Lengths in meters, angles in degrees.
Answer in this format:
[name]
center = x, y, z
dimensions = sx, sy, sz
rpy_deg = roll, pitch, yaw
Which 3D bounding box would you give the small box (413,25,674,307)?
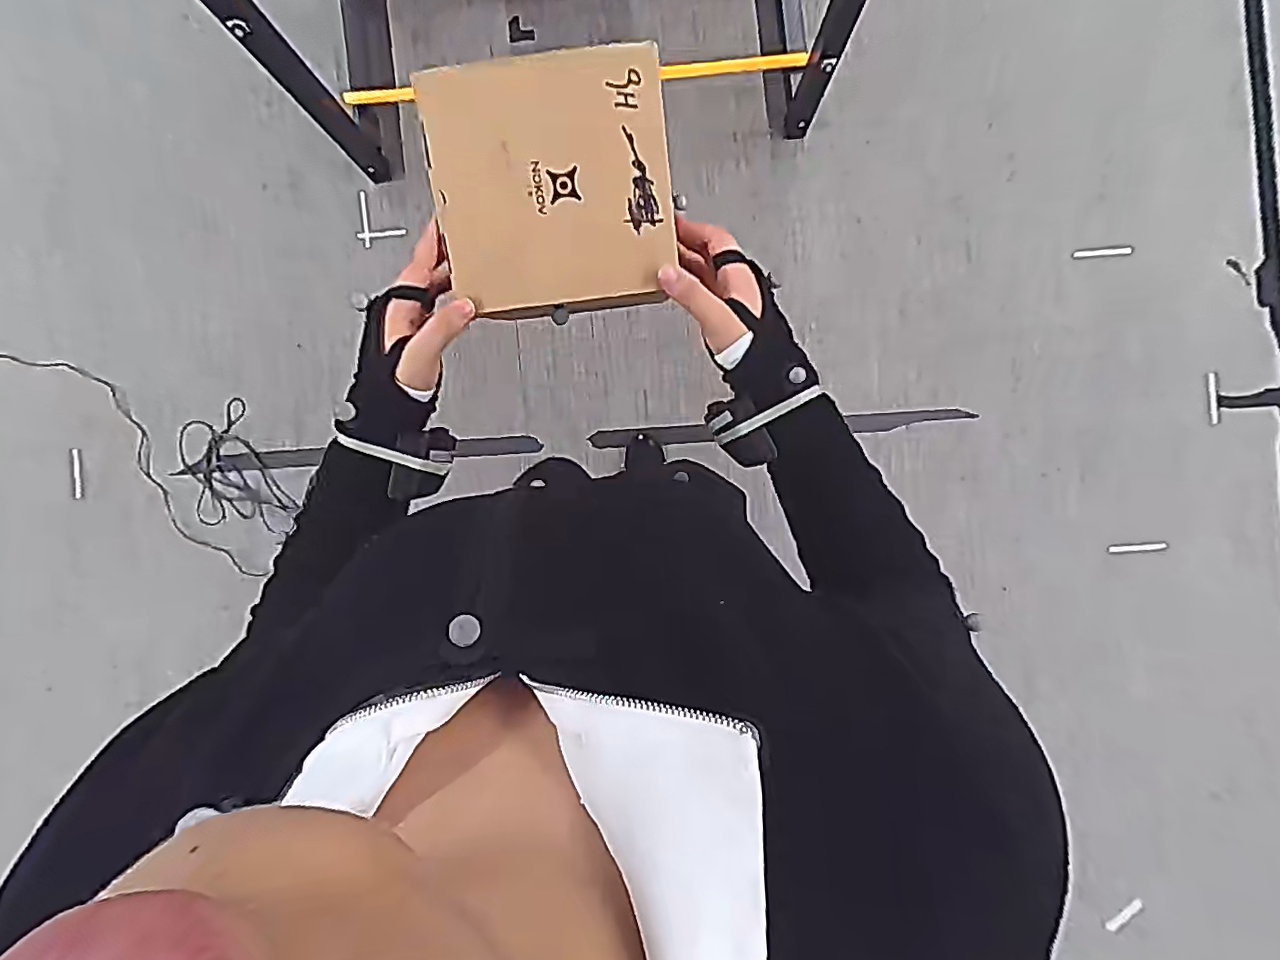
[small box]
center = -0.067, -0.249, 0.474
dimensions = 0.179, 0.176, 0.168
rpy_deg = -6, 105, 1
